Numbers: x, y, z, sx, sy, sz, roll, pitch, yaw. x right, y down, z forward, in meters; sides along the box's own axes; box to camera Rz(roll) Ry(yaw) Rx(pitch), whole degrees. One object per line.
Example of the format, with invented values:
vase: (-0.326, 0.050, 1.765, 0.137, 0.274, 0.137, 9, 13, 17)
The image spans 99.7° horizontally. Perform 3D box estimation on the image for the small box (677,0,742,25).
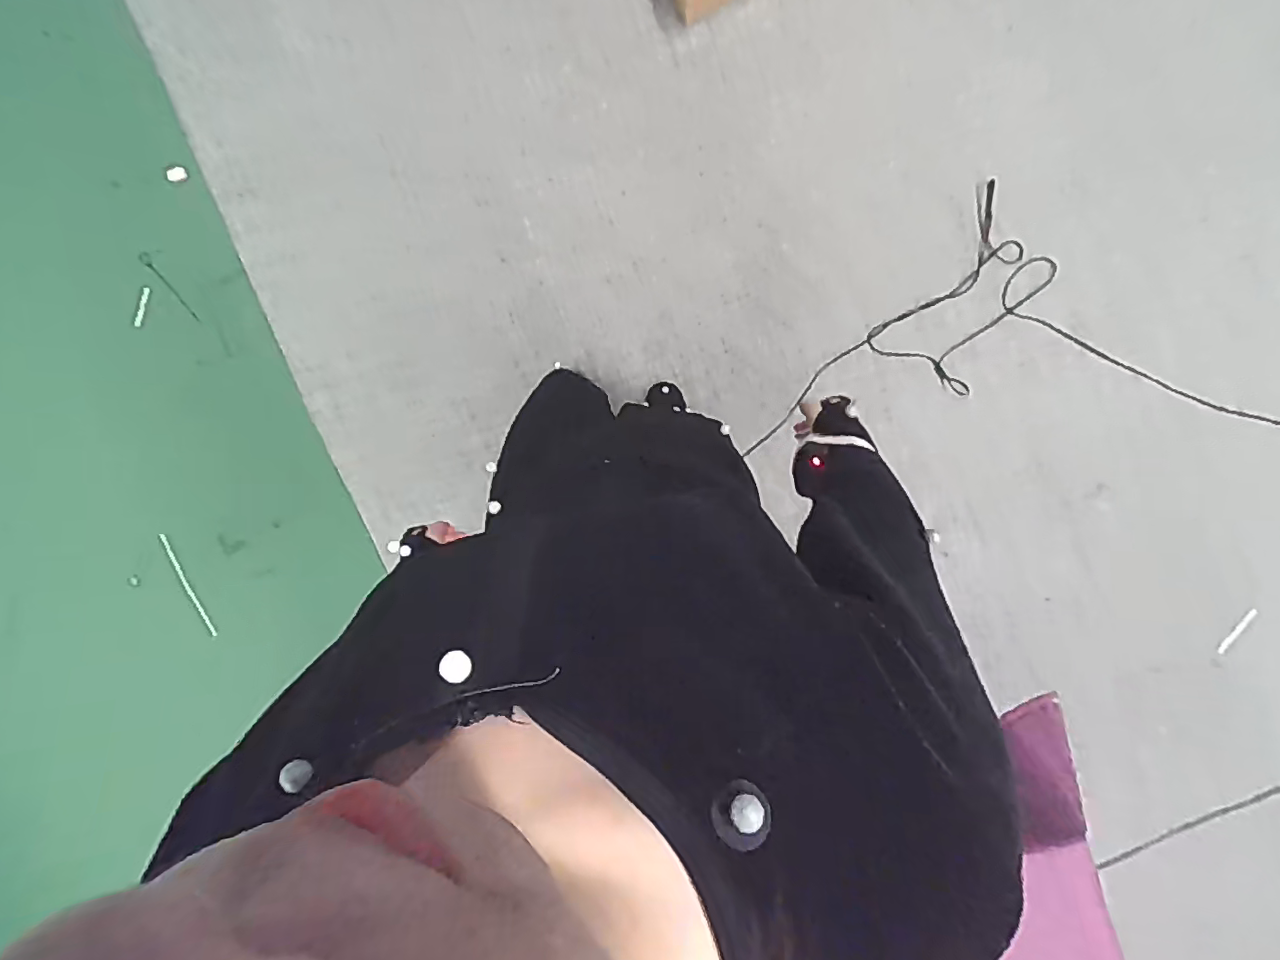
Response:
small box: (0.147, -1.122, 1.139, 0.179, 0.176, 0.168, -21, 101, 10)
